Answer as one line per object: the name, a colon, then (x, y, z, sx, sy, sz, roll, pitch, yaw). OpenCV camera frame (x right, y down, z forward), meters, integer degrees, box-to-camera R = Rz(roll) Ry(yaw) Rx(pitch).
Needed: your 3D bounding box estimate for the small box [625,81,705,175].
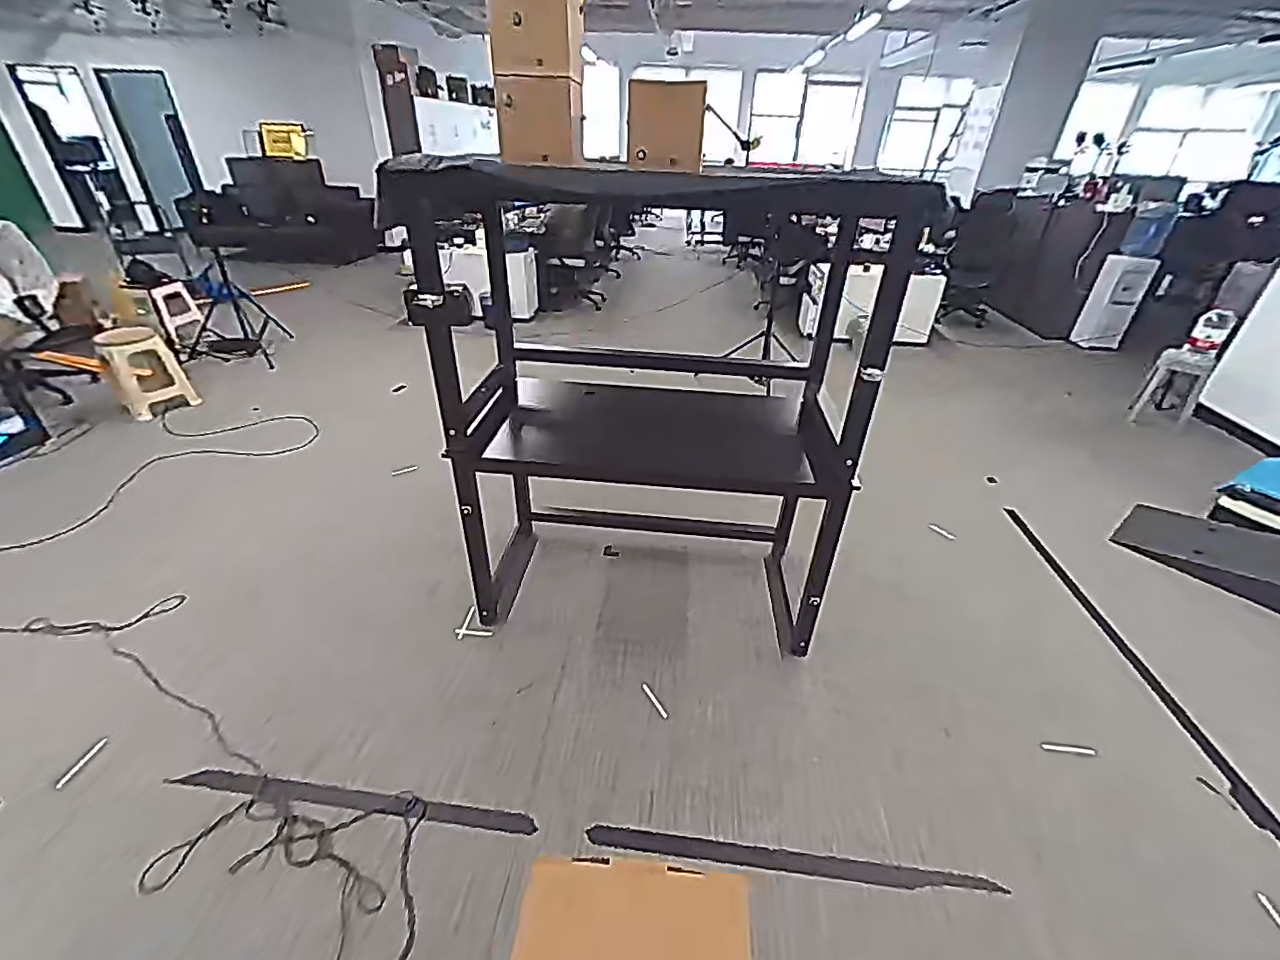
small box: (0.058, -0.790, 1.225, 0.168, 0.176, 0.179, 5, 30, 4)

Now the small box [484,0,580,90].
small box: (-0.222, -0.949, 1.156, 0.168, 0.176, 0.179, 4, 30, 3)

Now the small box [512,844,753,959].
small box: (-0.007, 0.404, 0.392, 0.168, 0.176, 0.179, 2, 36, 6)
